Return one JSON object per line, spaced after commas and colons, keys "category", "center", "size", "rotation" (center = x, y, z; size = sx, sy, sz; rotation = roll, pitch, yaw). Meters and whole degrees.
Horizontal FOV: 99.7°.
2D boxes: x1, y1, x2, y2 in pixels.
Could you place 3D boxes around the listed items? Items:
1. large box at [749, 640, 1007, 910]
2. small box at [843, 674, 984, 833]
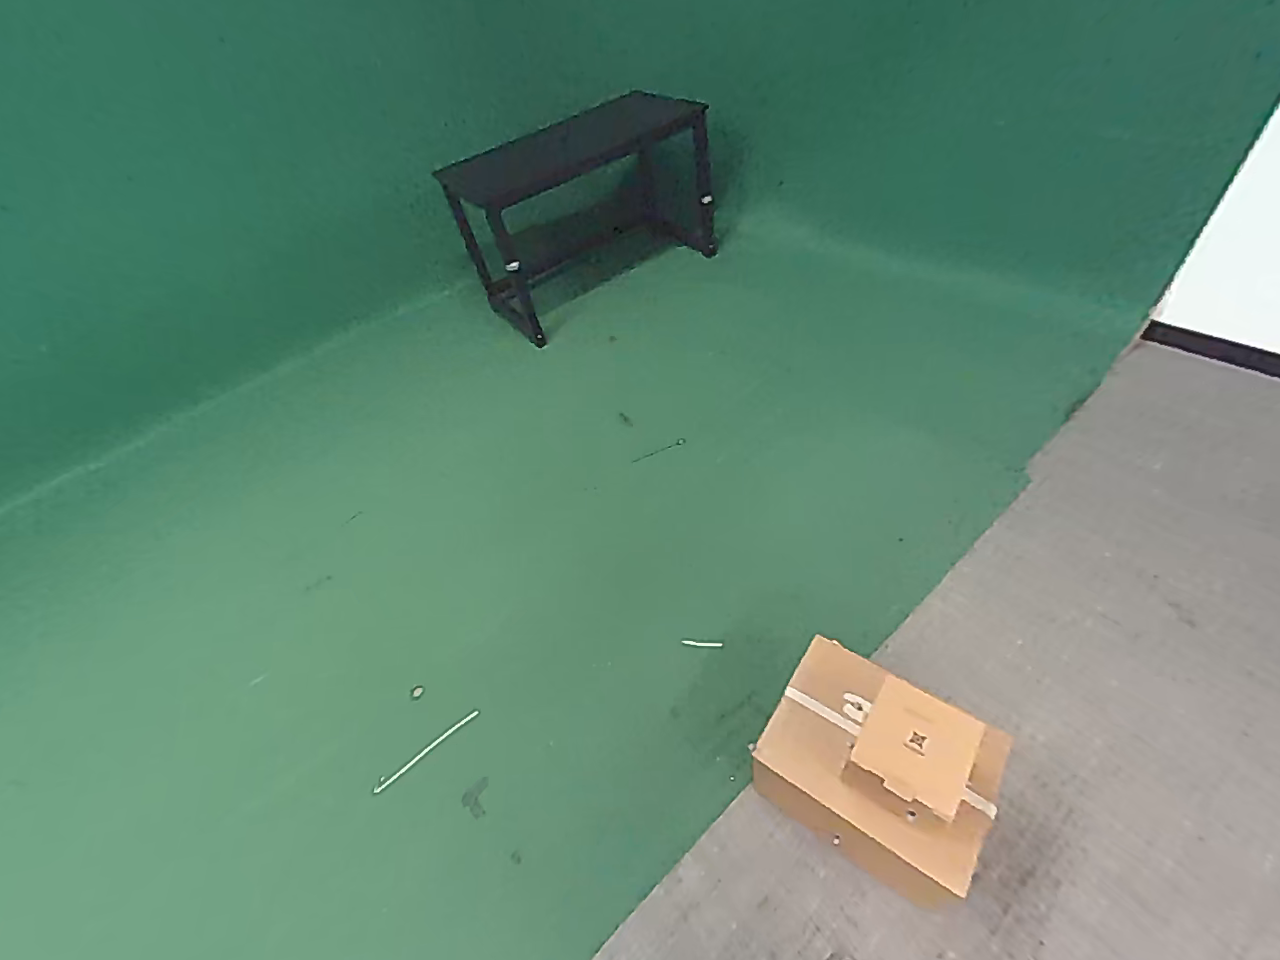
{"category": "large box", "center": [0.492, 0.627, 1.172], "size": [0.408, 0.320, 0.320], "rotation": [23, 56, 31]}
{"category": "small box", "center": [0.476, 0.490, 0.964], "size": [0.168, 0.176, 0.179], "rotation": [25, 59, 30]}
